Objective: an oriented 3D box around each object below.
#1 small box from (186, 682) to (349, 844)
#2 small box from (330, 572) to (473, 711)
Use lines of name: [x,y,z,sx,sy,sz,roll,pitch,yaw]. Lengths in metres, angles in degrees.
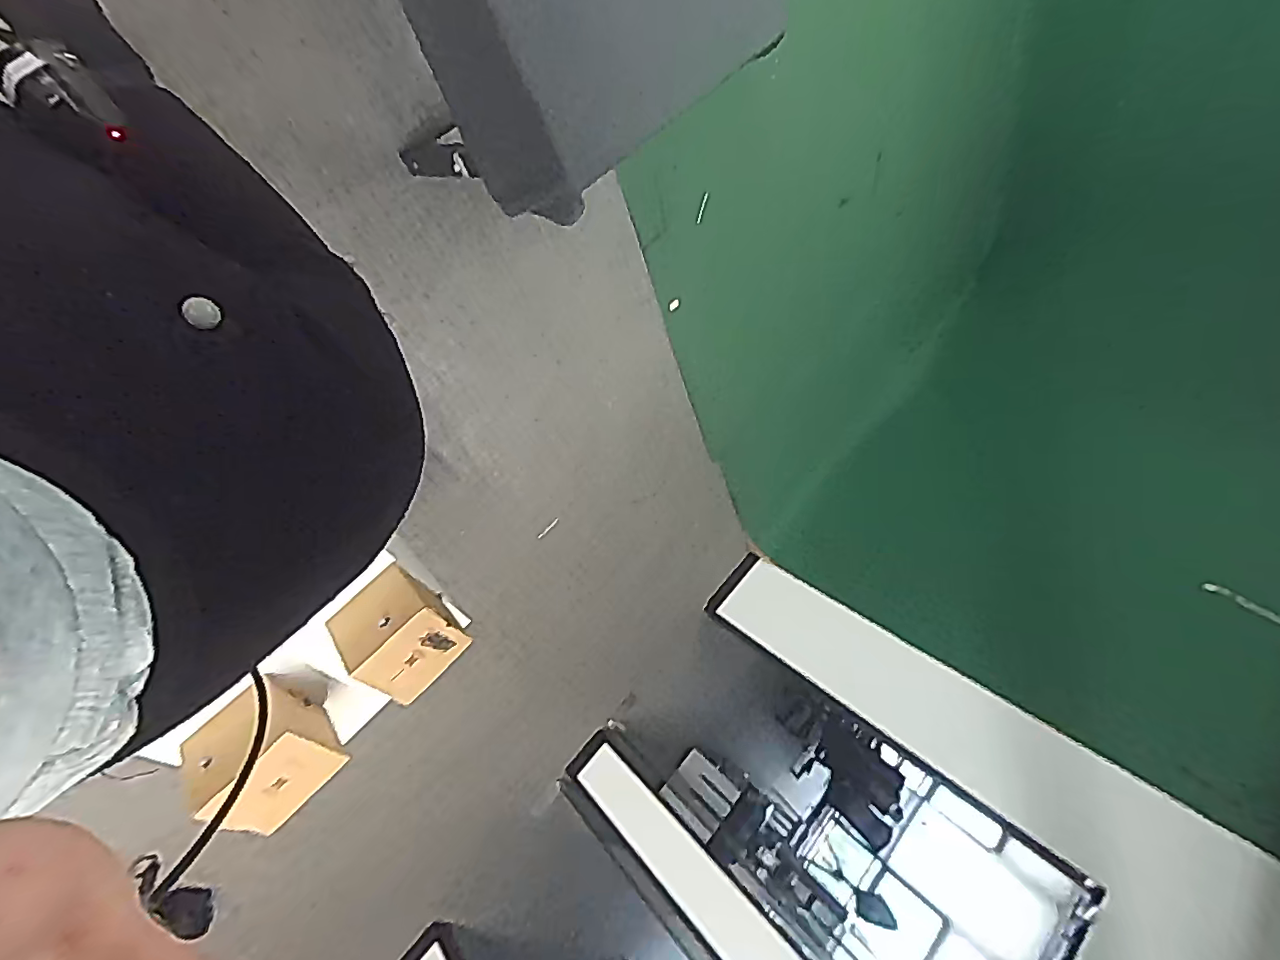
small box: [-0.685,0.513,0.992,0.179,0.176,0.168,-45,138,-20]
small box: [-0.479,0.316,1.083,0.179,0.176,0.168,-45,138,-15]
